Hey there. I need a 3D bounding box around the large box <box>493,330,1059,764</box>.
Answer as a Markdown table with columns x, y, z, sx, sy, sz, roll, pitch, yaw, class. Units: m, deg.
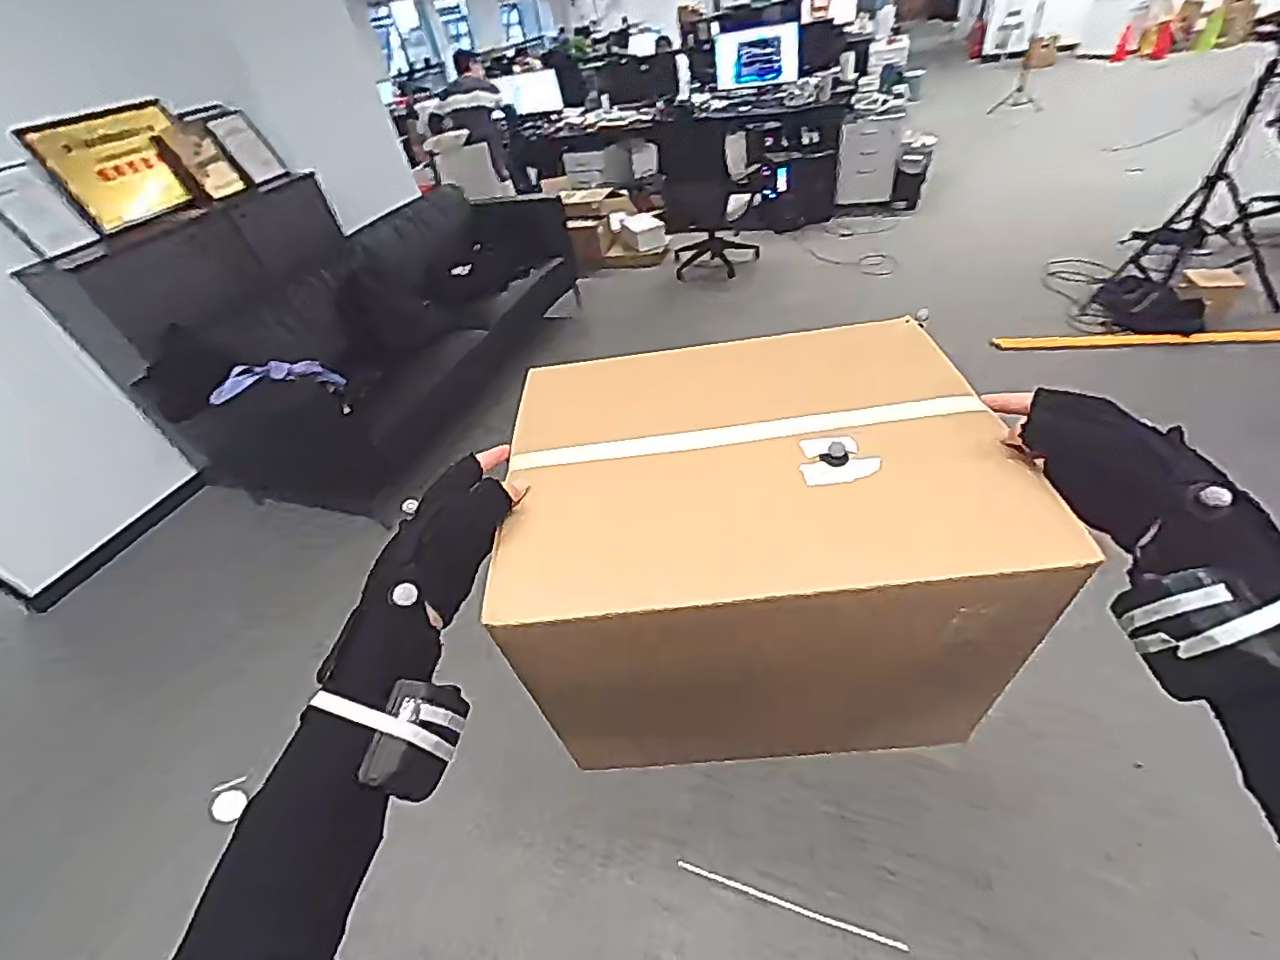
| x | y | z | sx | sy | sz | roll | pitch | yaw | class |
| --- | --- | --- | --- | --- | --- | --- | --- | --- | --- |
| 0.099 | 0.075 | 0.582 | 0.408 | 0.320 | 0.320 | -7 | 45 | 3 | large box |
